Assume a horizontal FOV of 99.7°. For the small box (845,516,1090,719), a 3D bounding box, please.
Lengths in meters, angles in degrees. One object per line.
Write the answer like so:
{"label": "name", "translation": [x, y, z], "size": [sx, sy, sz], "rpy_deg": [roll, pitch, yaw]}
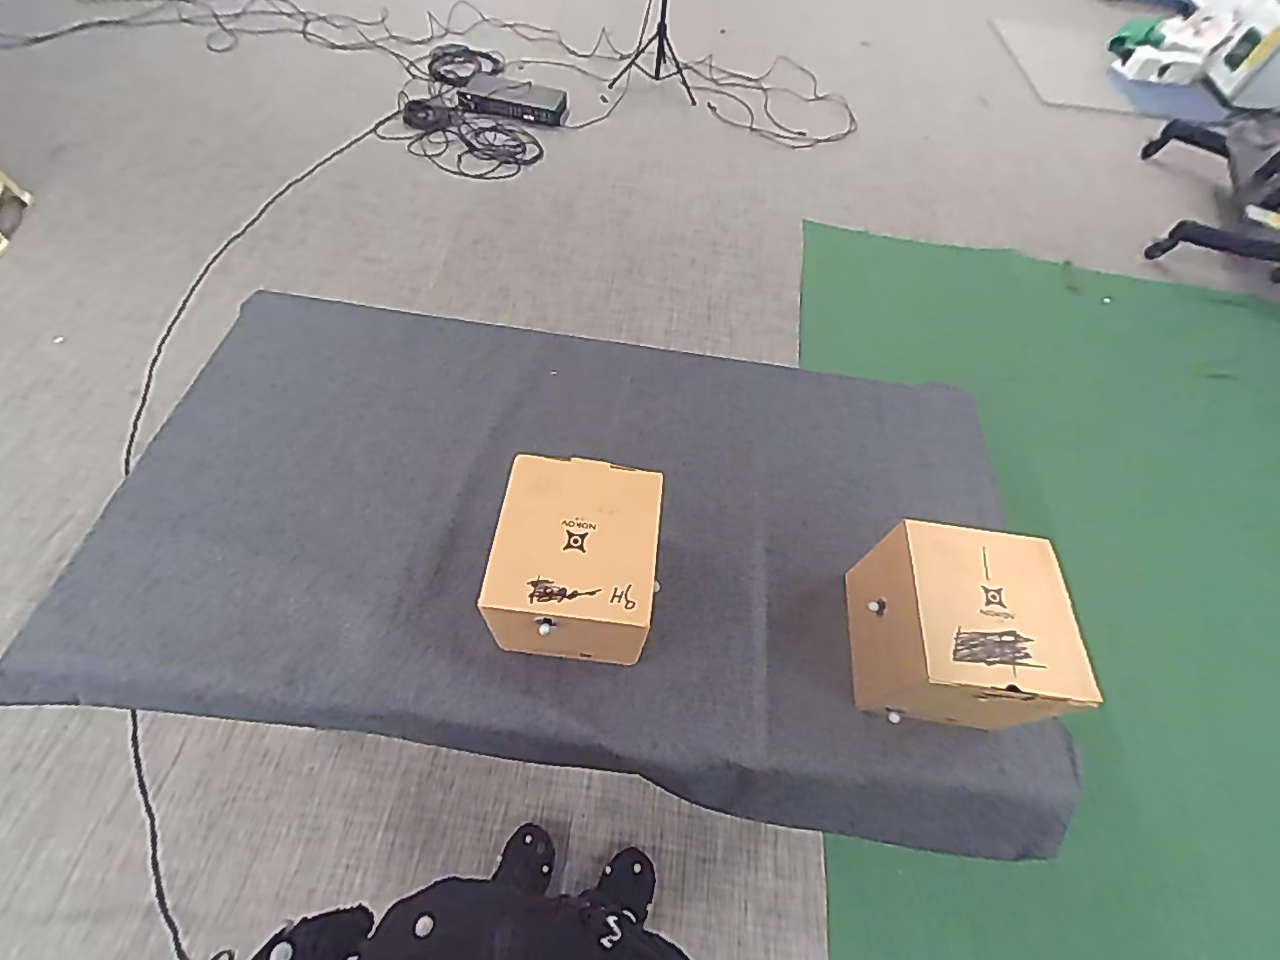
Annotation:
{"label": "small box", "translation": [0.353, 0.166, 0.624], "size": [0.168, 0.176, 0.179], "rpy_deg": [8, 58, 0]}

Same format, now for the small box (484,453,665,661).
{"label": "small box", "translation": [-0.069, 0.095, 0.628], "size": [0.168, 0.176, 0.179], "rpy_deg": [8, 58, -1]}
